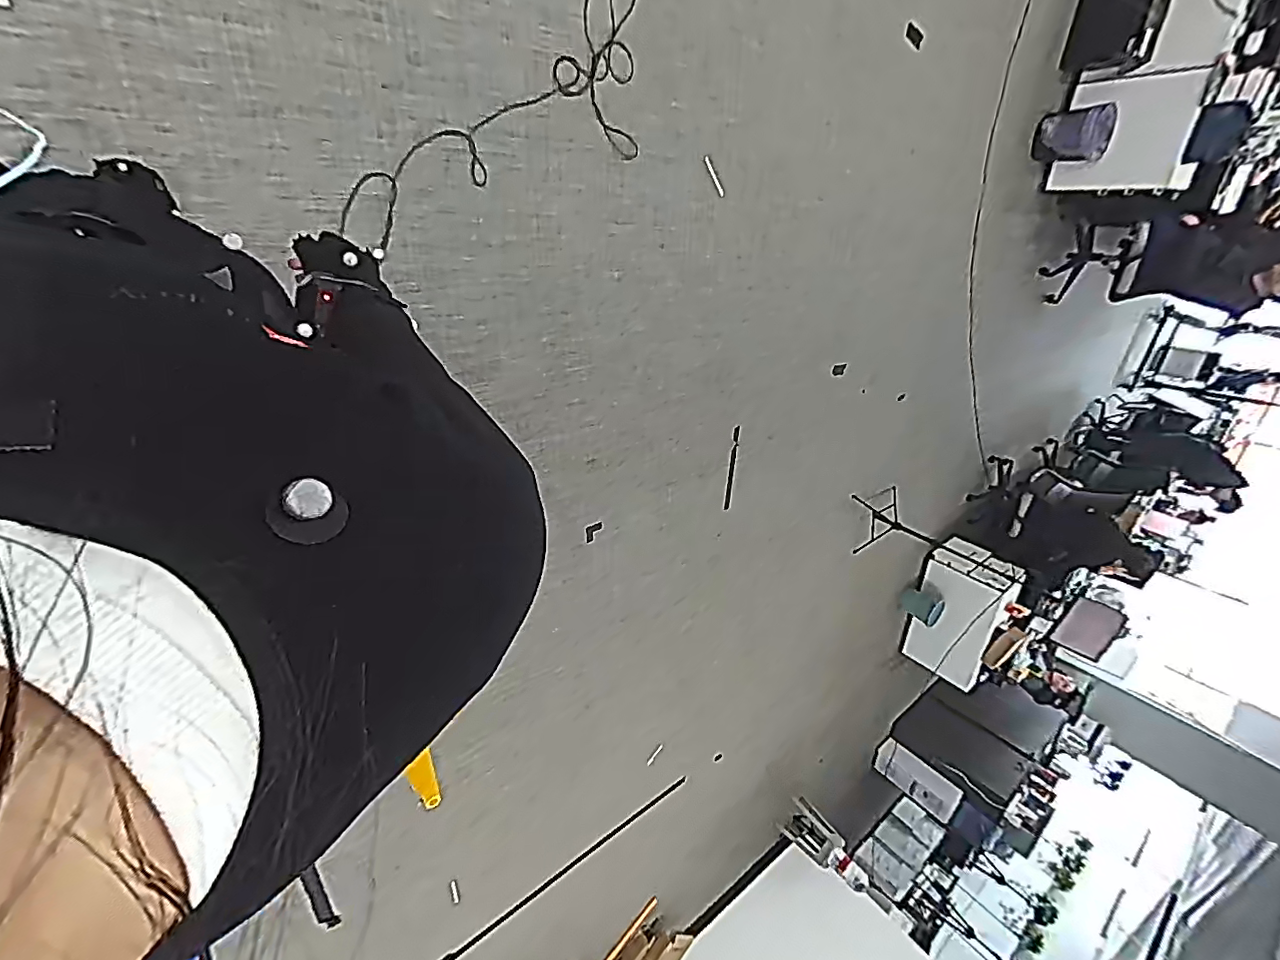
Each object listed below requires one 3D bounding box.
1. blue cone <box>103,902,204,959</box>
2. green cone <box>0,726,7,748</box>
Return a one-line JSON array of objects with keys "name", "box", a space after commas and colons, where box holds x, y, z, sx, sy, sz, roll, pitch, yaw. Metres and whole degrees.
[{"name": "blue cone", "box": [-1.259, 1.348, 1.403, 0.192, 0.380, 0.193, -13, 119, -35]}, {"name": "green cone", "box": [-1.310, 0.561, 0.930, 0.202, 0.368, 0.200, -17, 121, -33]}]
